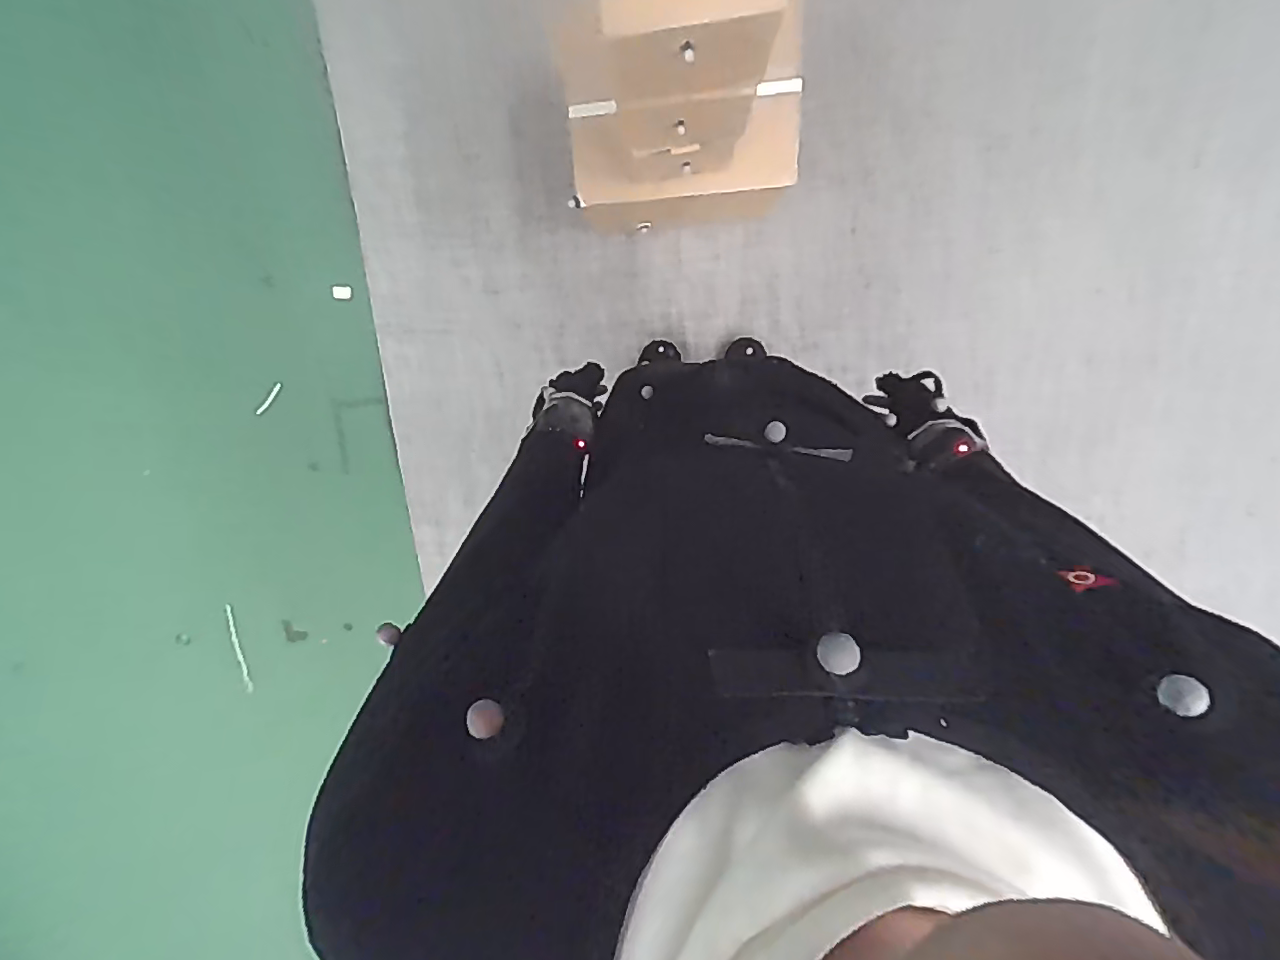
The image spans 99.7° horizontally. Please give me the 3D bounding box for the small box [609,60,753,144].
[{"bbox_3d":[0.052,-0.569,0.718,0.179,0.176,0.168,-2,106,7],"label":"small box"}]

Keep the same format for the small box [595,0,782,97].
[{"bbox_3d":[0.045,-0.529,0.562,0.179,0.176,0.168,-5,107,5],"label":"small box"}]

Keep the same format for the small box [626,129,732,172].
[{"bbox_3d":[0.059,-0.617,0.876,0.168,0.176,0.179,-6,107,7],"label":"small box"}]
